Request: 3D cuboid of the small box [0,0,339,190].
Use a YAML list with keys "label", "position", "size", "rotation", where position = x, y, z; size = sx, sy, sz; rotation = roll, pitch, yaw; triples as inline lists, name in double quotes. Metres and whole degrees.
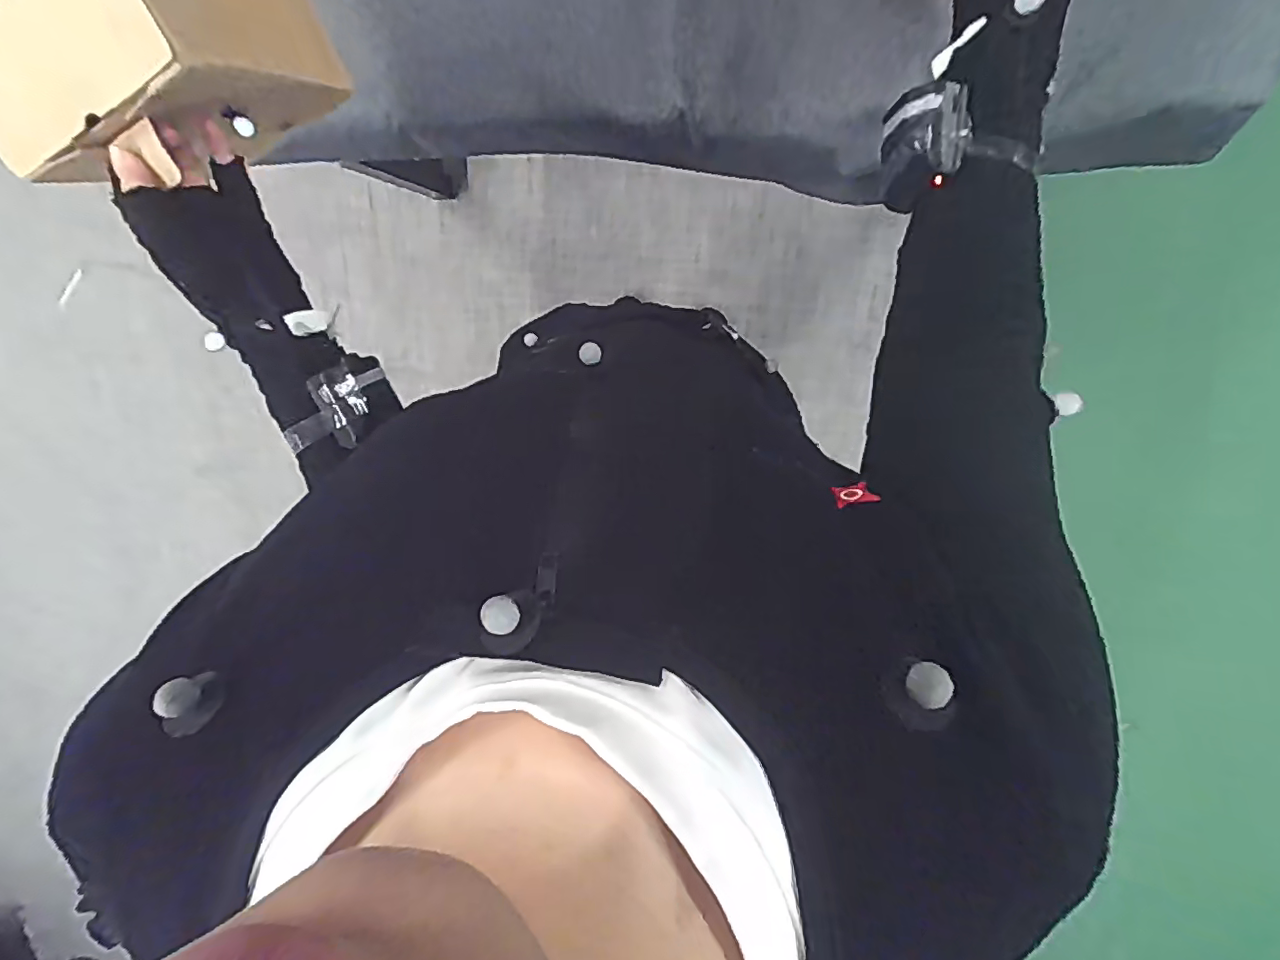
- label: "small box"
  position: [-0.351, -0.321, 0.361]
  size: [0.168, 0.176, 0.179]
  rotation: [-16, 115, 18]
